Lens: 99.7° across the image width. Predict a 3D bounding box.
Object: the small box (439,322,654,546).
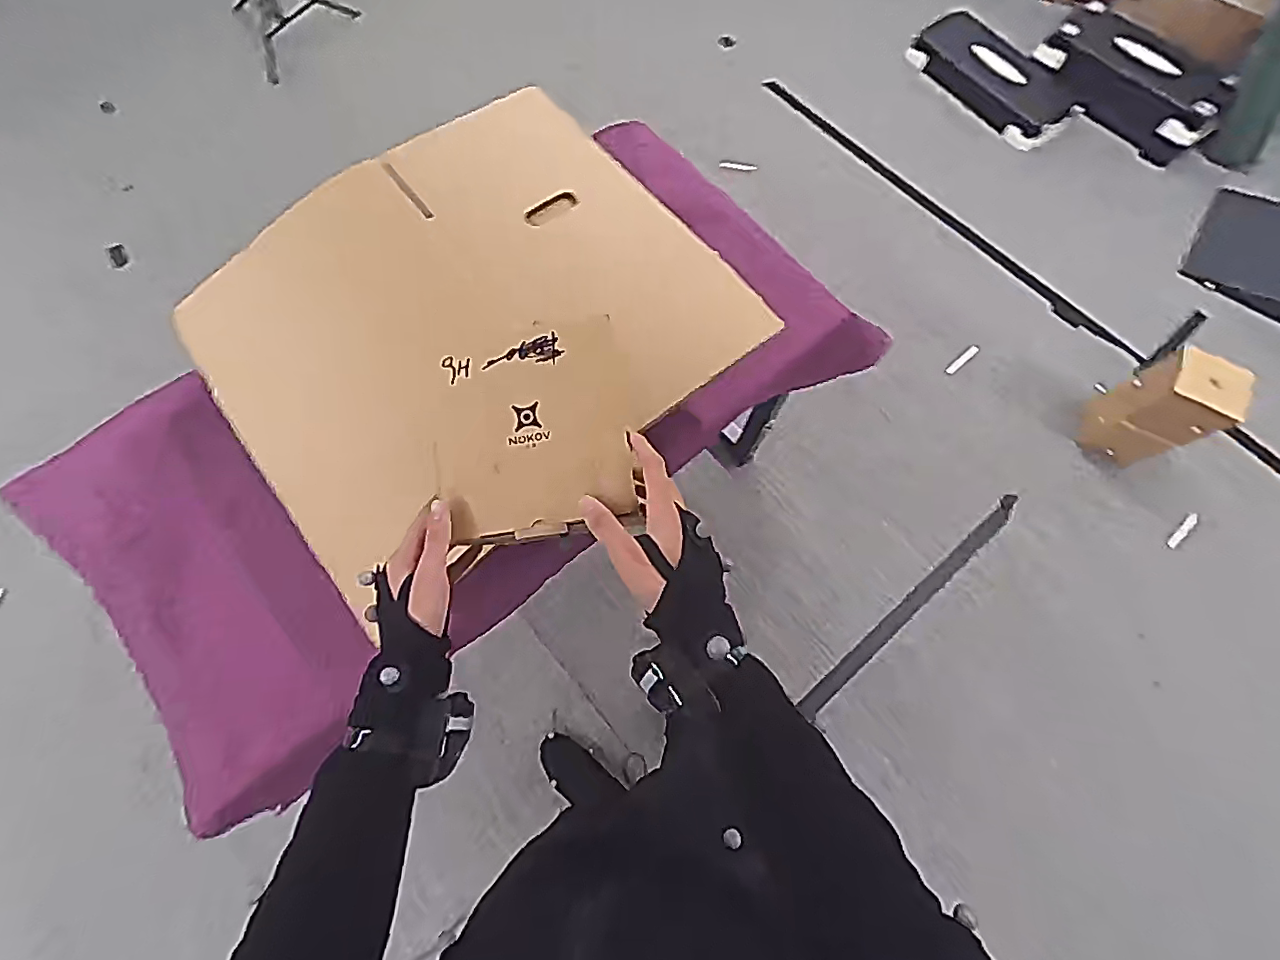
[{"bbox_3d":[-0.079,-0.033,0.540,0.168,0.176,0.179,-8,84,3],"label":"small box"}]
